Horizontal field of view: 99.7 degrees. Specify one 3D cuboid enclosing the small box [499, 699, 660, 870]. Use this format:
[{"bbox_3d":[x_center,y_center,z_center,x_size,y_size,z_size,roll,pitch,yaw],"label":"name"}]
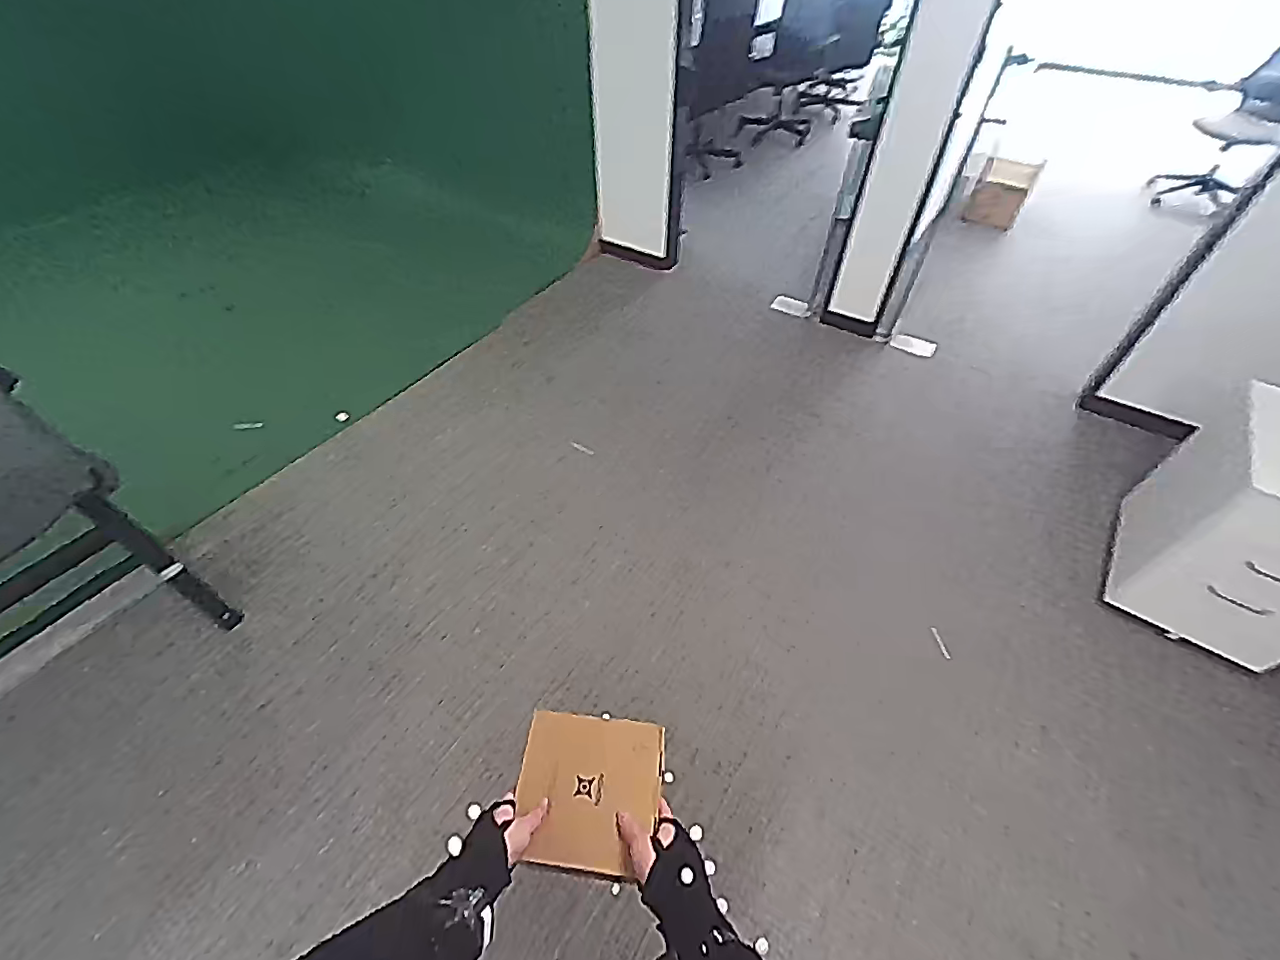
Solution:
[{"bbox_3d":[-0.066,0.414,0.731,0.179,0.176,0.168,4,51,7],"label":"small box"}]
